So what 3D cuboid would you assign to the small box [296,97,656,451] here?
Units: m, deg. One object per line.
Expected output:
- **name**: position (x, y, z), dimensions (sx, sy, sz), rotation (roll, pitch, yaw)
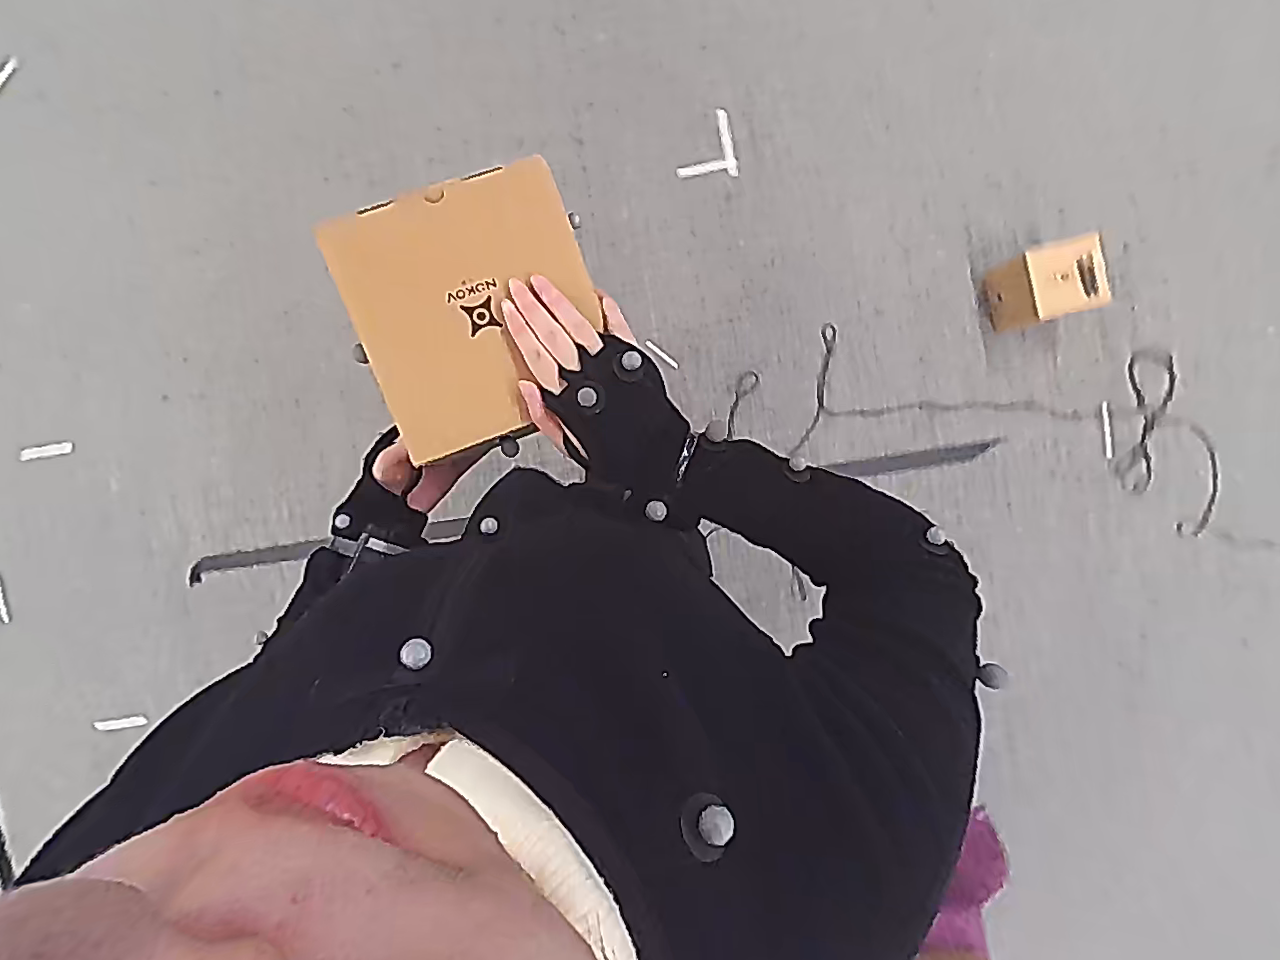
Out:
- **small box**: position (-0.113, -0.141, 0.416), dimensions (0.179, 0.176, 0.168), rotation (-25, 77, 12)
